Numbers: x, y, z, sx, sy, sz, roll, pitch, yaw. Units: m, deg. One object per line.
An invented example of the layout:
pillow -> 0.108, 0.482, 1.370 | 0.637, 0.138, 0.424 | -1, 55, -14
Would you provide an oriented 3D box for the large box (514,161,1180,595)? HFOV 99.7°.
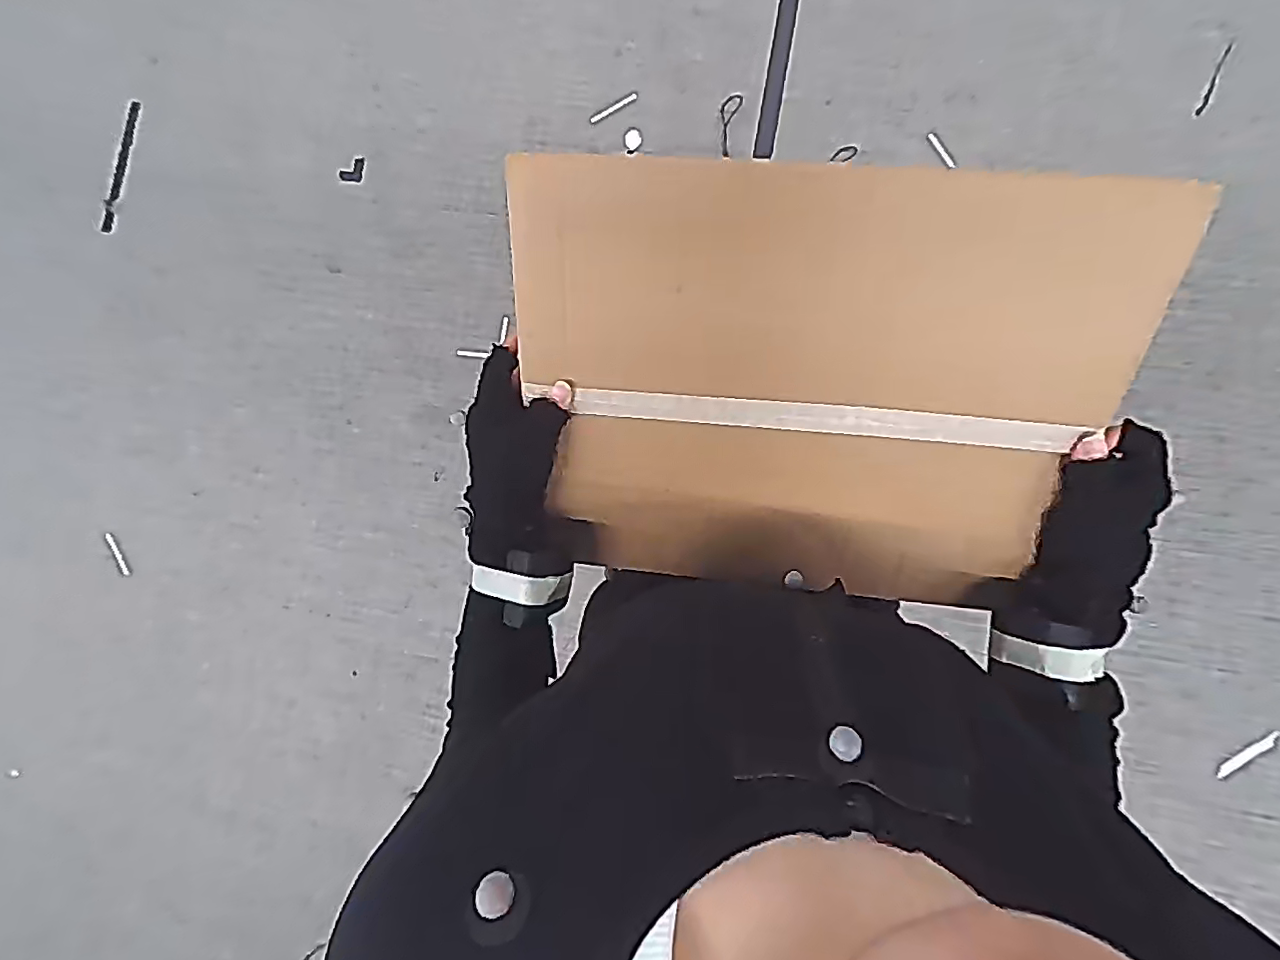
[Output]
large box -> 0.127, -0.123, 0.530 | 0.408, 0.320, 0.320 | 6, 121, 5
